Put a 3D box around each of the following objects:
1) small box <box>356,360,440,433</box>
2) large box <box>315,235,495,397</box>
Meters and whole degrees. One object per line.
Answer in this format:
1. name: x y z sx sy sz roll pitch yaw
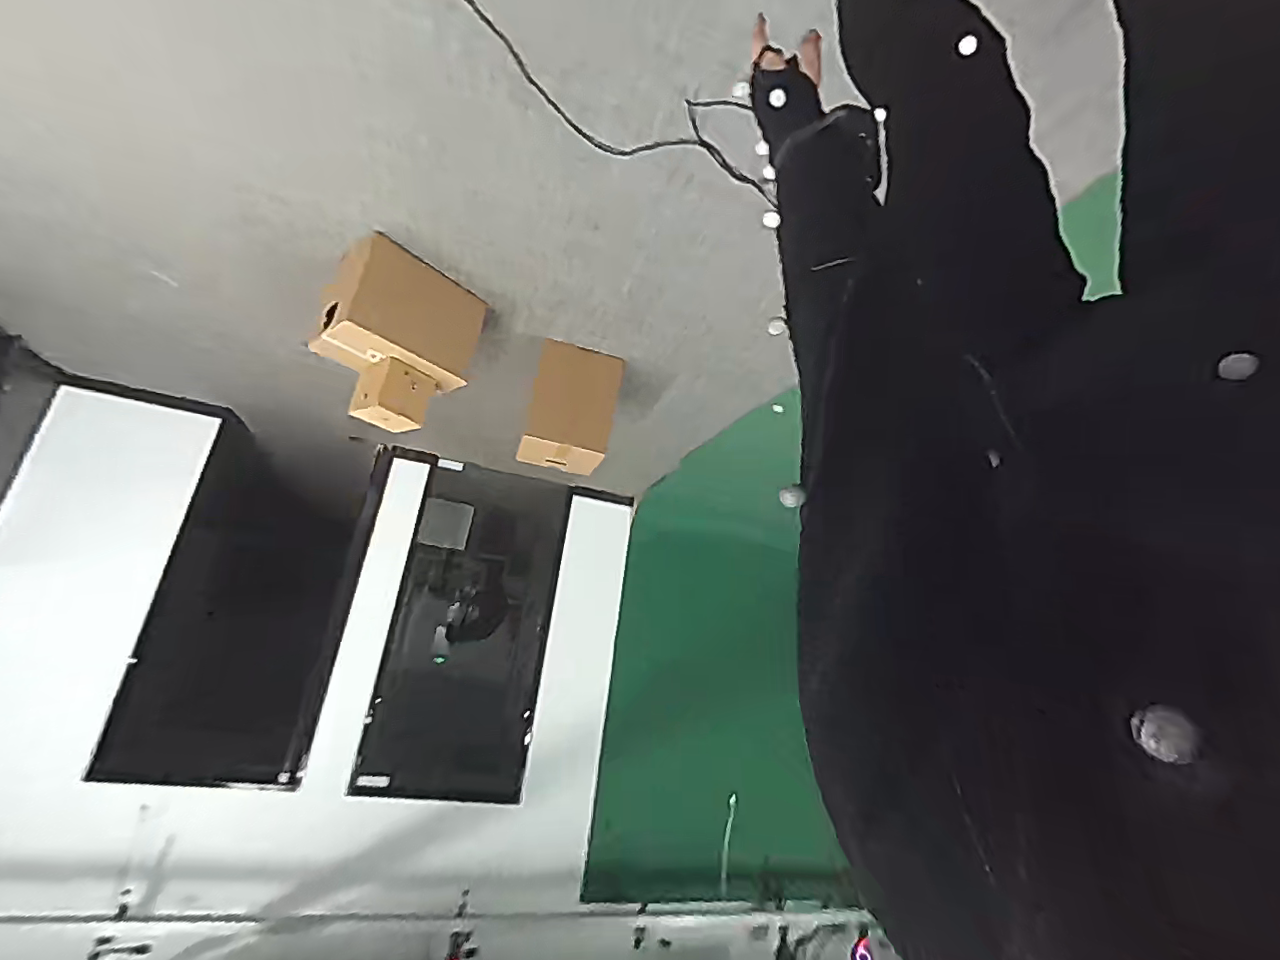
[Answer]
1. small box: -0.775 -0.267 1.745 0.179 0.176 0.168 -4 158 37
2. large box: -0.759 -0.511 1.783 0.320 0.320 0.408 -8 154 40
